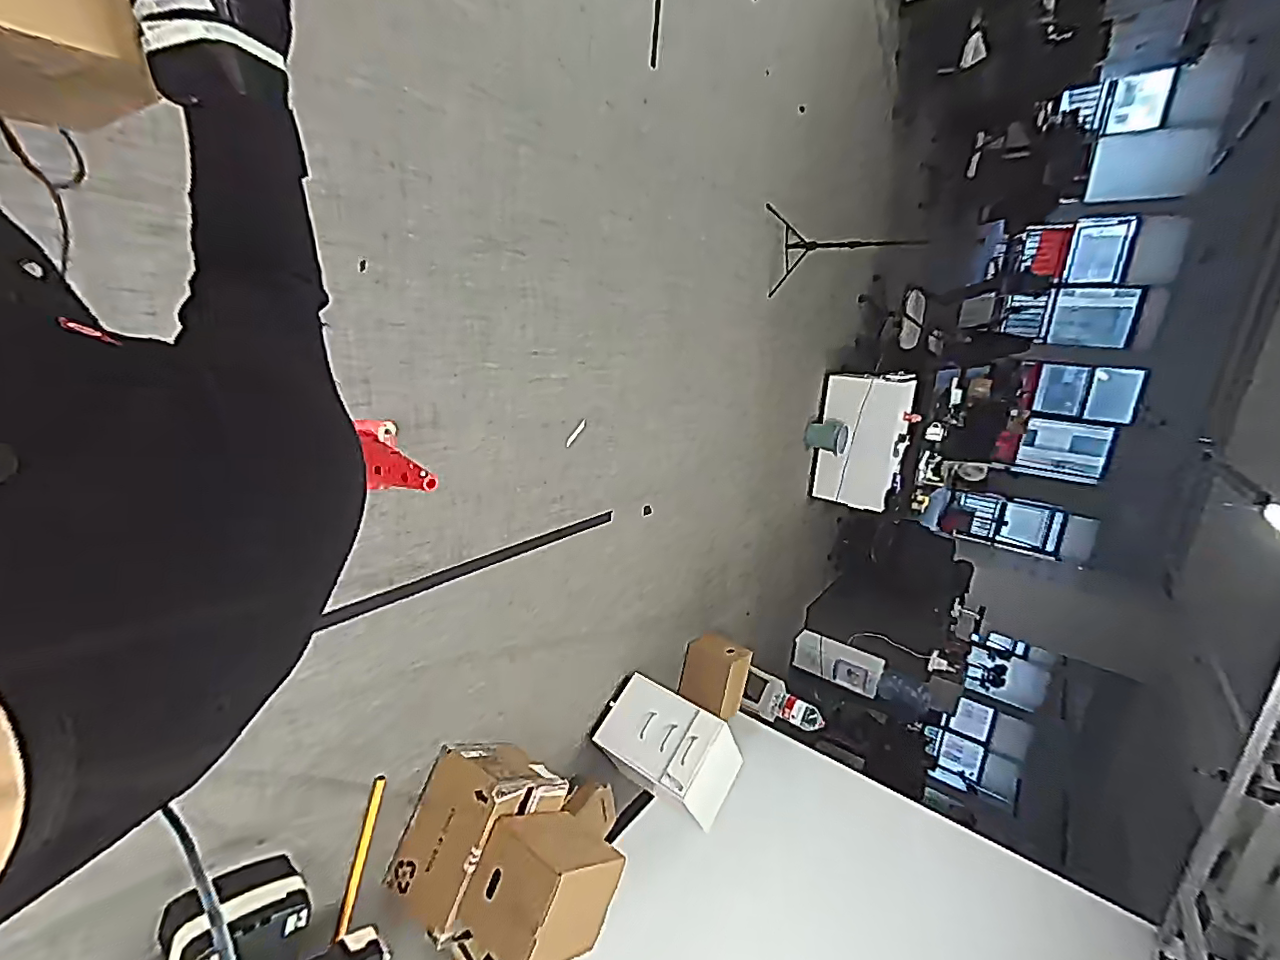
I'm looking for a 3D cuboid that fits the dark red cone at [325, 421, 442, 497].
[{"bbox_3d":[-0.628,-0.025,1.382,0.201,0.394,0.202,-7,108,-52],"label":"dark red cone"}]

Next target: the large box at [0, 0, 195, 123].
[{"bbox_3d":[-0.543,-0.425,0.265,0.408,0.320,0.320,-20,120,-51],"label":"large box"}]
